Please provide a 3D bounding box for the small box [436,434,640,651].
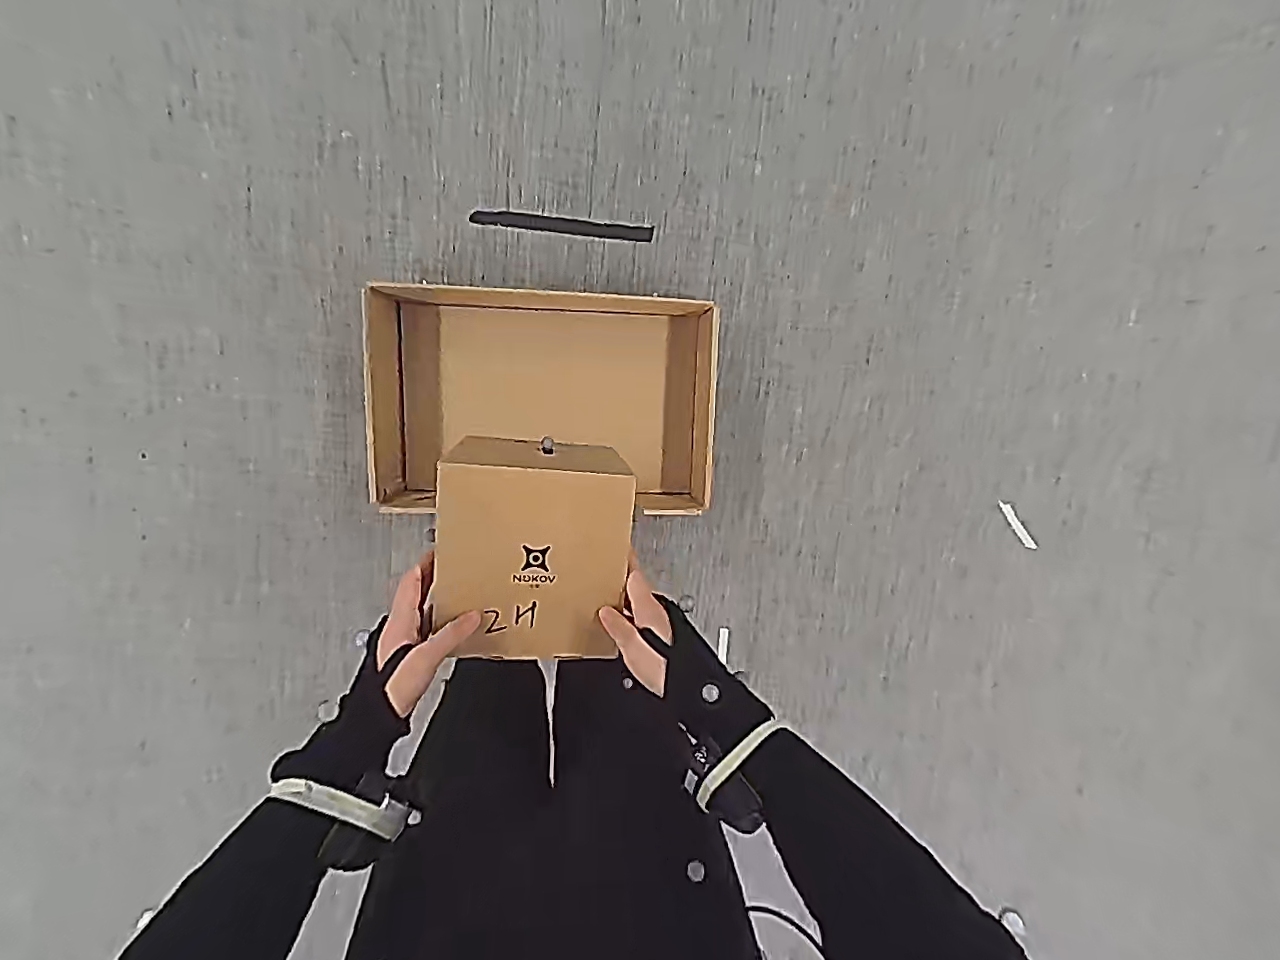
[{"bbox_3d":[-0.103,0.052,0.549,0.168,0.176,0.179,4,102,-11],"label":"small box"}]
